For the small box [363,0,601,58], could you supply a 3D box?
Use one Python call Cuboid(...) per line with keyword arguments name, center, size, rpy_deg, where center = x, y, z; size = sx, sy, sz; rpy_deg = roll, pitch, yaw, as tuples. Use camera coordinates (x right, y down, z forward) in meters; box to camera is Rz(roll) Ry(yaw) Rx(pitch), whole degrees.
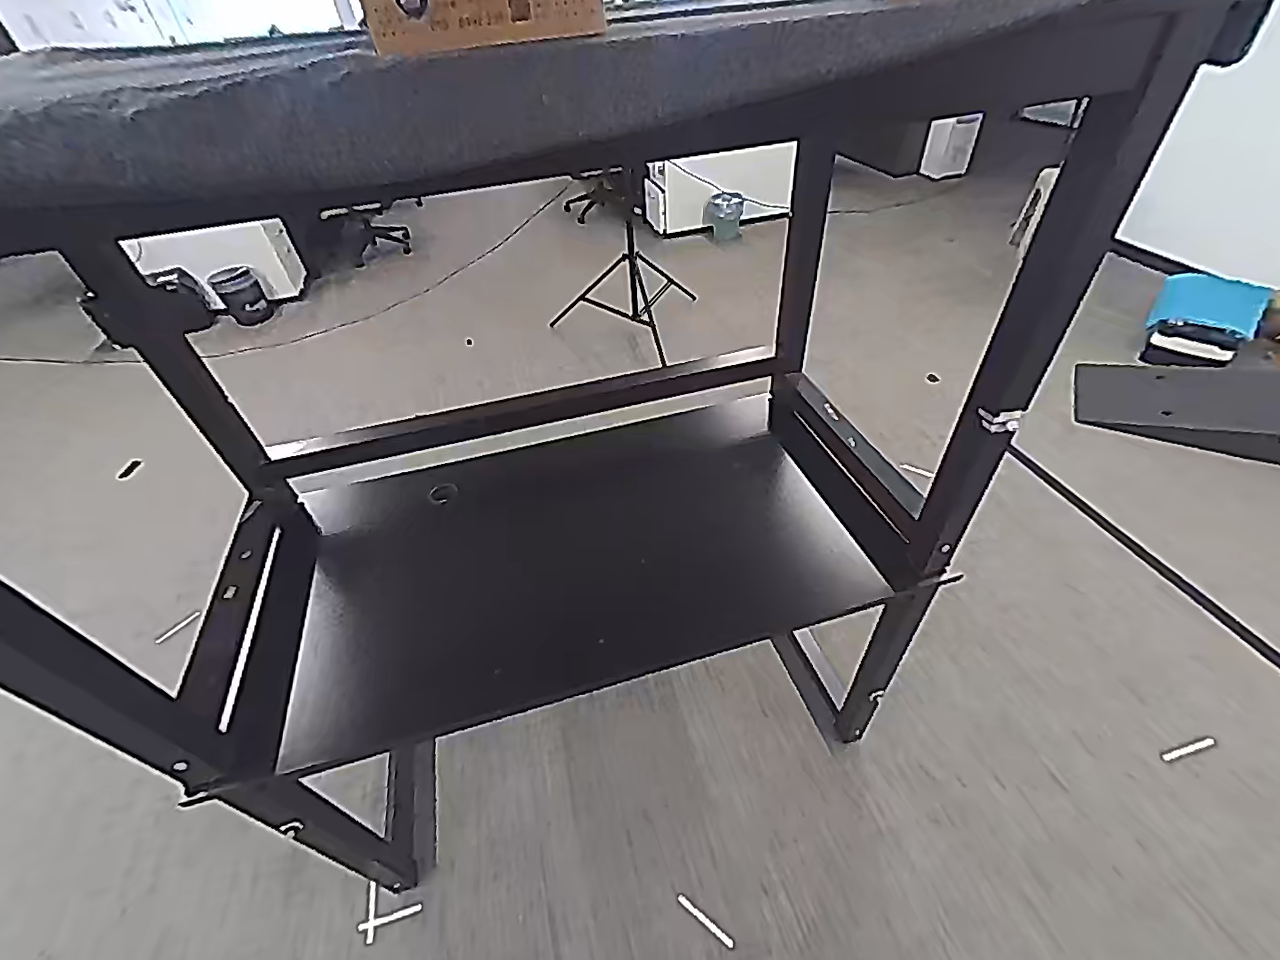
Cuboid(name="small box", center=(-0.132, -0.423, 0.393), size=(0.168, 0.176, 0.179), rpy_deg=(-14, 42, -9))
